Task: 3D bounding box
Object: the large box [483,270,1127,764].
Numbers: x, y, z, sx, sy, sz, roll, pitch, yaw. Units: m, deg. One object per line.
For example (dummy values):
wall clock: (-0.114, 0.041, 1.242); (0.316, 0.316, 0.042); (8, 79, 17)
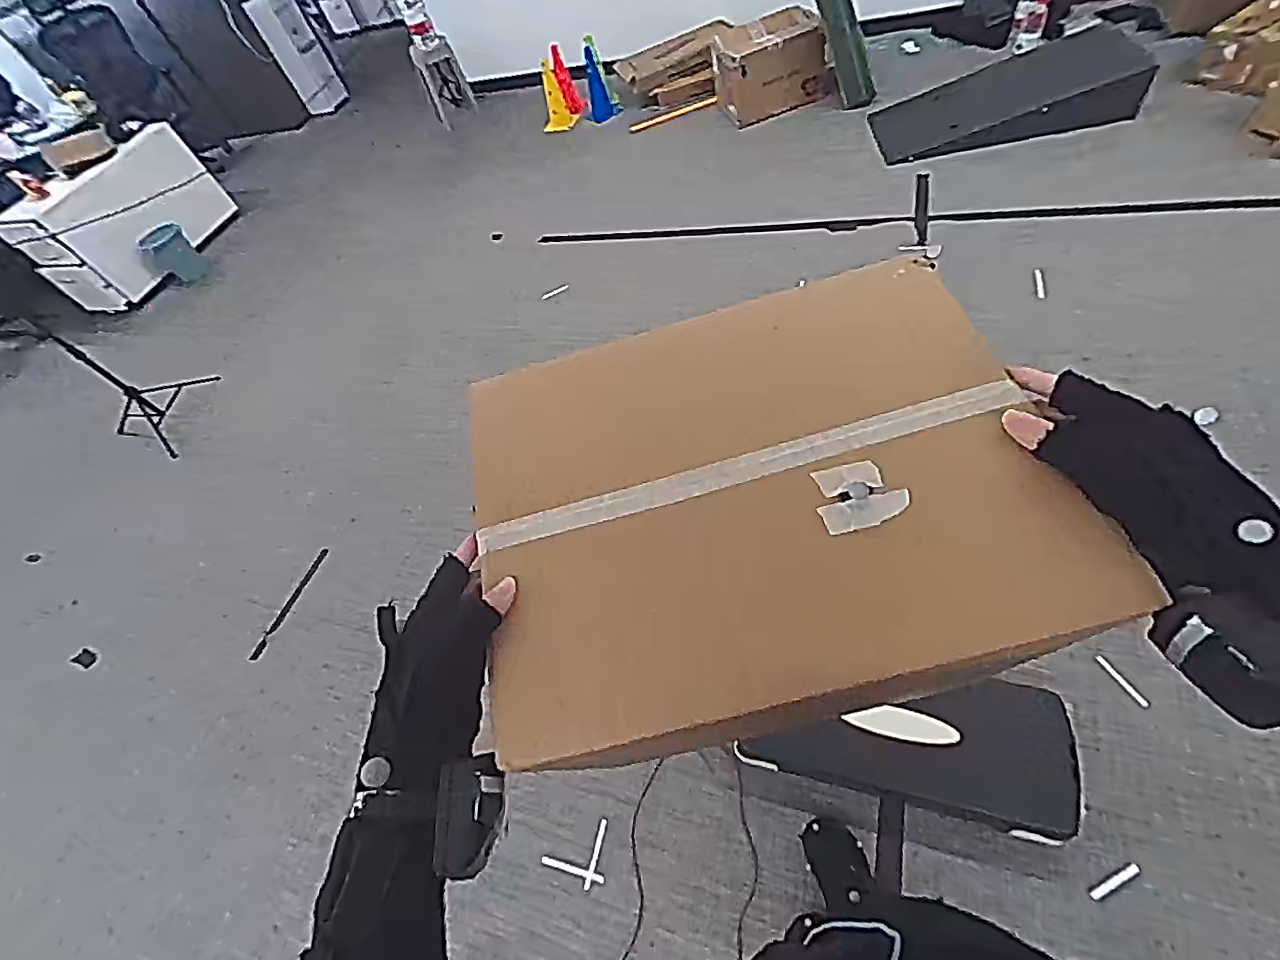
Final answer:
large box: (0.103, 0.066, 0.540); (0.408, 0.320, 0.320); (-16, 61, 3)
